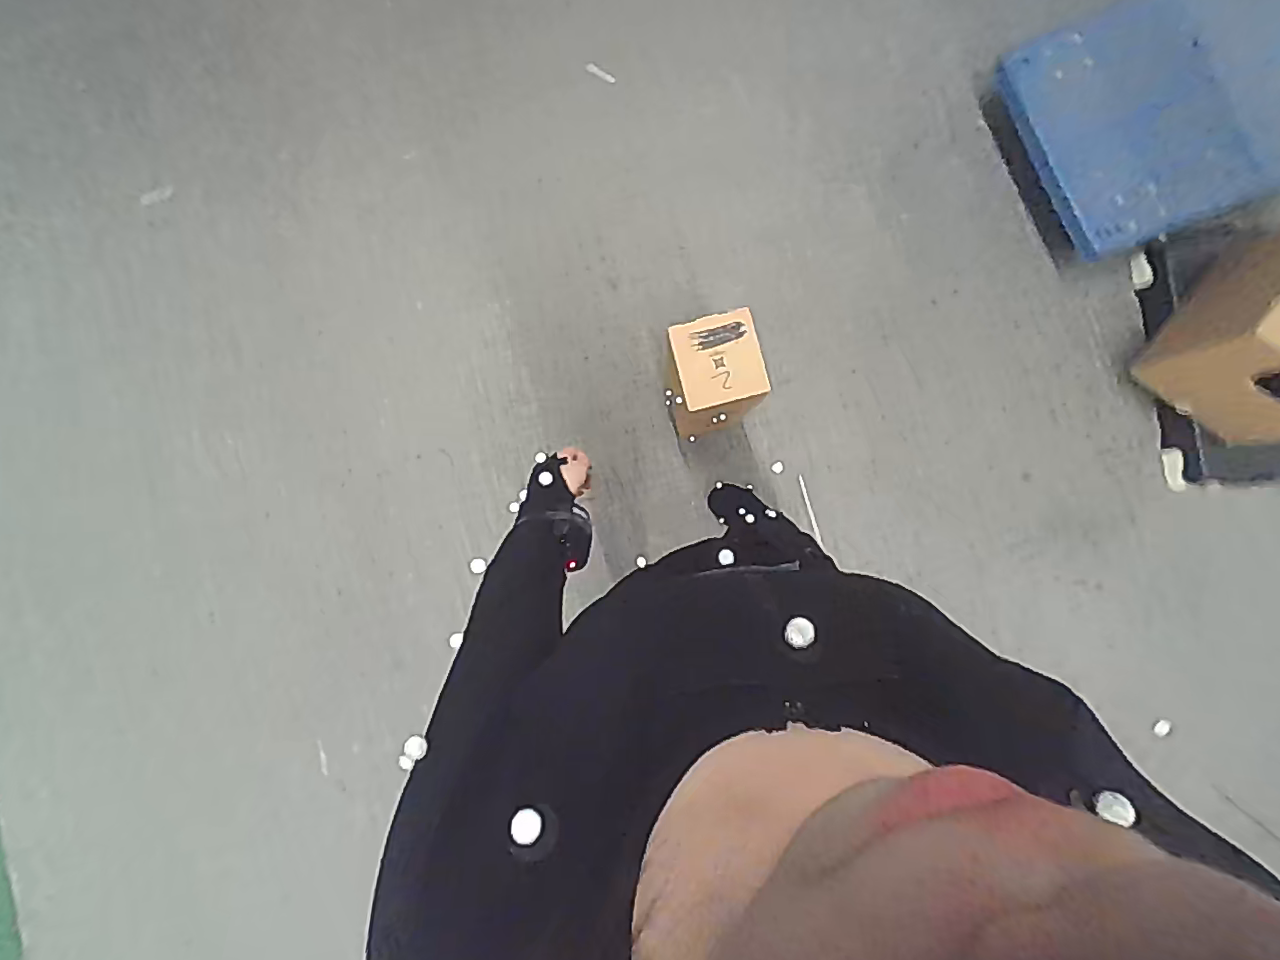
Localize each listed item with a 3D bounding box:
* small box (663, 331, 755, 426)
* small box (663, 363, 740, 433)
[{"bbox_3d":[0.158,-0.232,1.282,0.179,0.176,0.168,-14,87,2],"label":"small box"},{"bbox_3d":[0.162,-0.230,1.447,0.168,0.176,0.179,-14,86,2],"label":"small box"}]
